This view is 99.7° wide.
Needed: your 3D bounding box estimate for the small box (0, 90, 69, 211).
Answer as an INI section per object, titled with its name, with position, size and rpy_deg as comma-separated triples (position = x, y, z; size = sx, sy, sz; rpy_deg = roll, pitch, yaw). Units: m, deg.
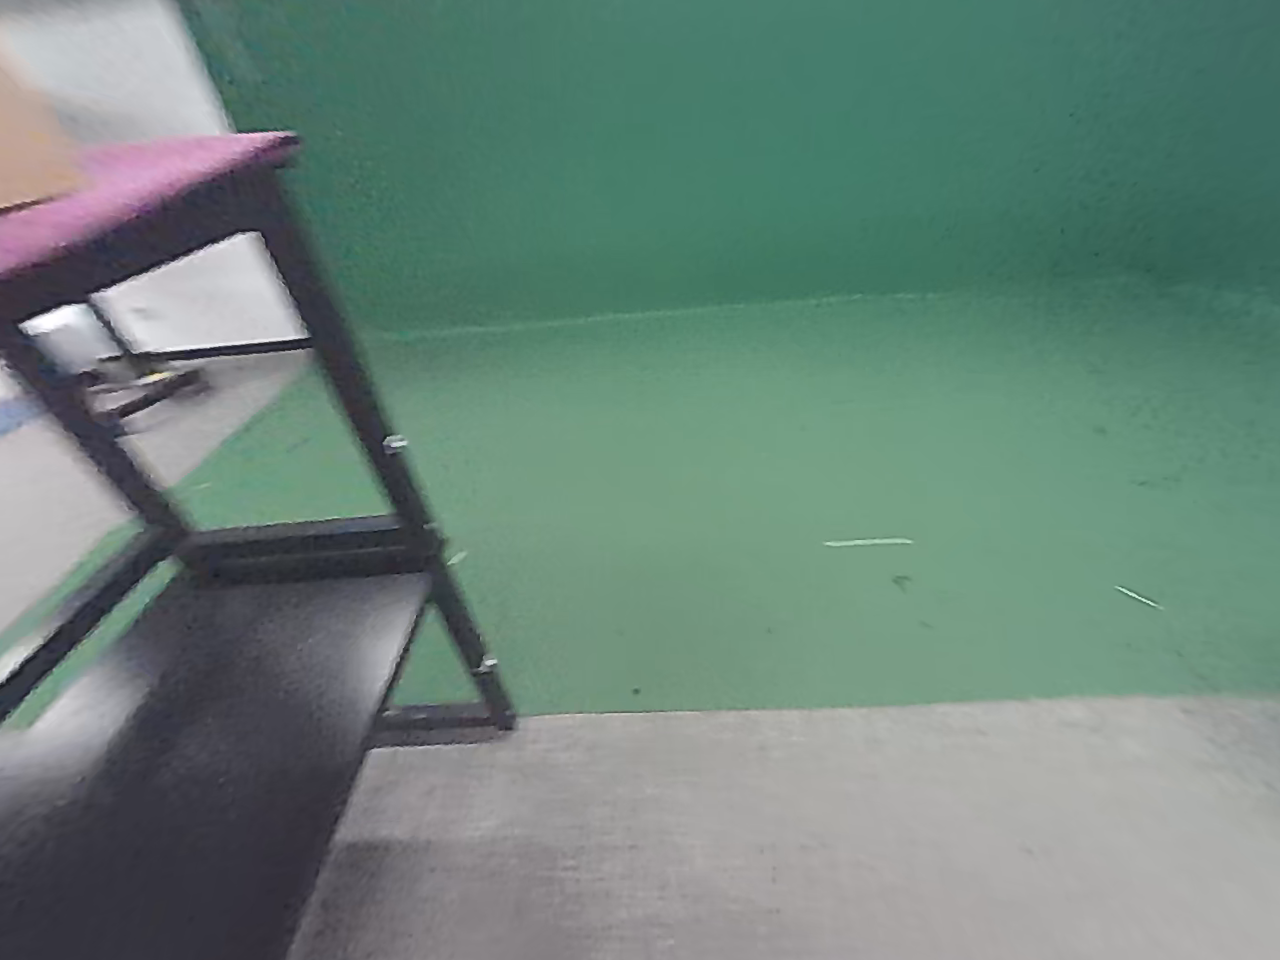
[small box]
position = -0.669, -0.302, 0.451
size = 0.168, 0.176, 0.179
rpy_deg = -5, 38, 6
